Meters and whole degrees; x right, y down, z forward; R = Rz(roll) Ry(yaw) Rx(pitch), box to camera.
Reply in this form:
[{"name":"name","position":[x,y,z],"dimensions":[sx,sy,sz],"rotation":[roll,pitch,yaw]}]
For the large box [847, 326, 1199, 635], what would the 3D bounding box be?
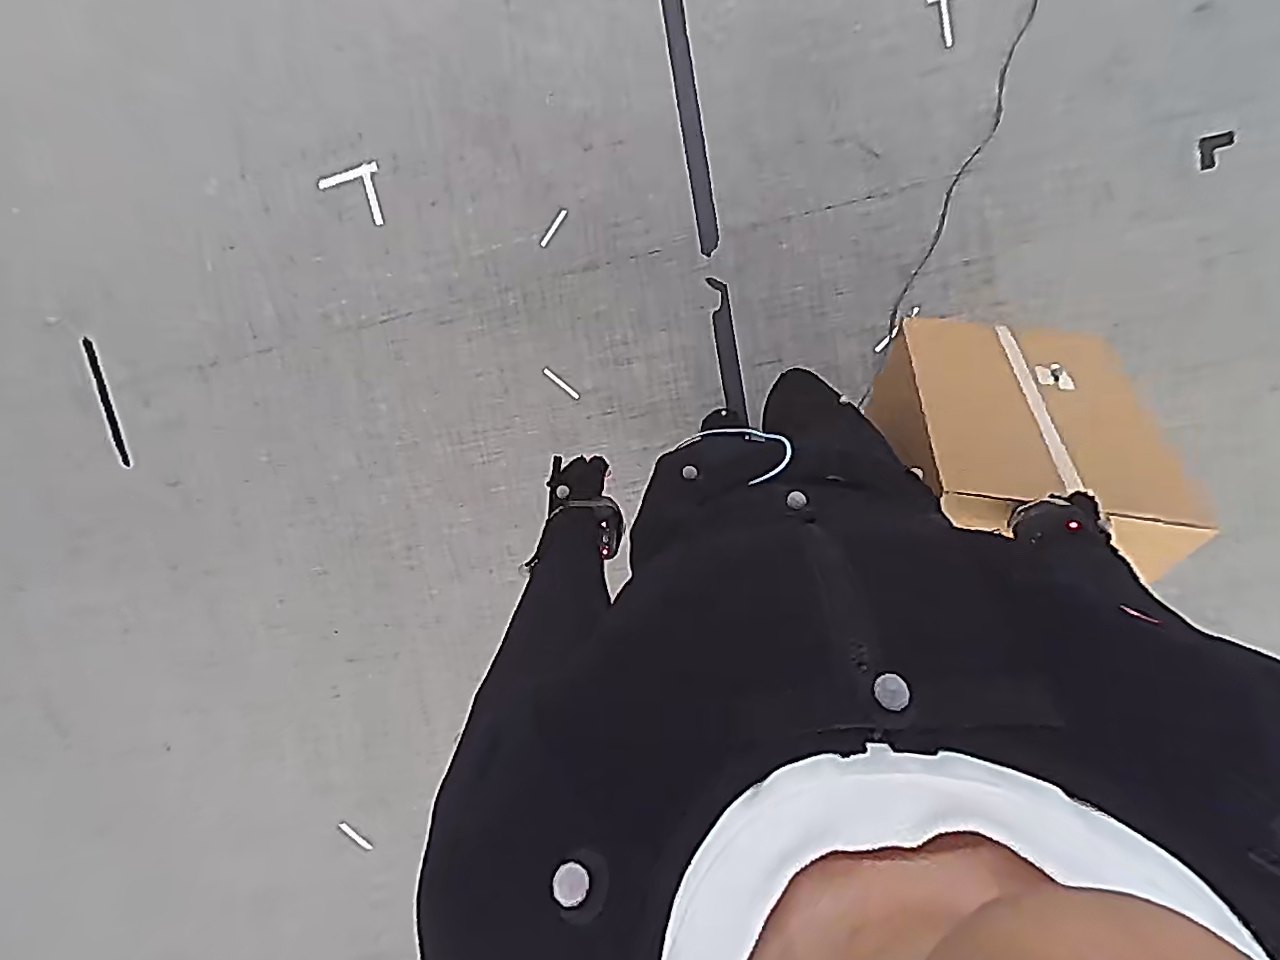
[{"name":"large box","position":[0.560,-0.006,0.908],"dimensions":[0.320,0.408,0.320],"rotation":[9,137,6]}]
